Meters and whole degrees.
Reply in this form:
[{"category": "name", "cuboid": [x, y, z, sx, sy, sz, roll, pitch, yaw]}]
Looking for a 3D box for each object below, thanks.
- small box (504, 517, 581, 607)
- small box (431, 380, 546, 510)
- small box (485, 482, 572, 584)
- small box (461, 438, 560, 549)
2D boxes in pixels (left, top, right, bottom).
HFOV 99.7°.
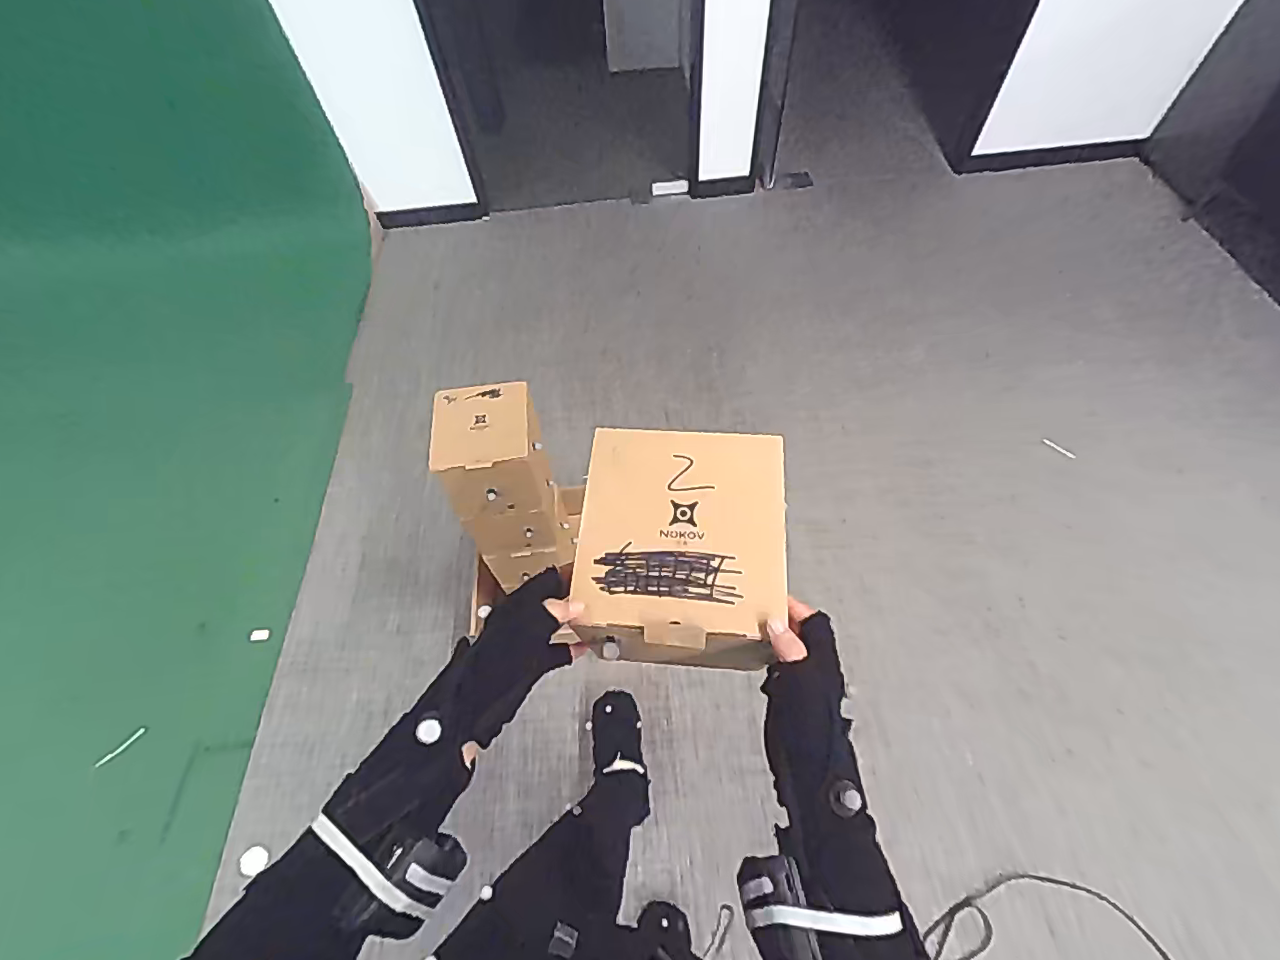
[{"category": "small box", "cuboid": [-0.247, 0.215, 1.400, 0.168, 0.176, 0.179, -5, 58, 0]}, {"category": "small box", "cuboid": [-0.267, -0.056, 0.991, 0.168, 0.176, 0.179, -6, 59, -3]}, {"category": "small box", "cuboid": [-0.253, 0.126, 1.263, 0.168, 0.176, 0.179, -6, 58, -1]}, {"category": "small box", "cuboid": [-0.262, 0.035, 1.128, 0.168, 0.176, 0.179, -7, 58, -3]}]
